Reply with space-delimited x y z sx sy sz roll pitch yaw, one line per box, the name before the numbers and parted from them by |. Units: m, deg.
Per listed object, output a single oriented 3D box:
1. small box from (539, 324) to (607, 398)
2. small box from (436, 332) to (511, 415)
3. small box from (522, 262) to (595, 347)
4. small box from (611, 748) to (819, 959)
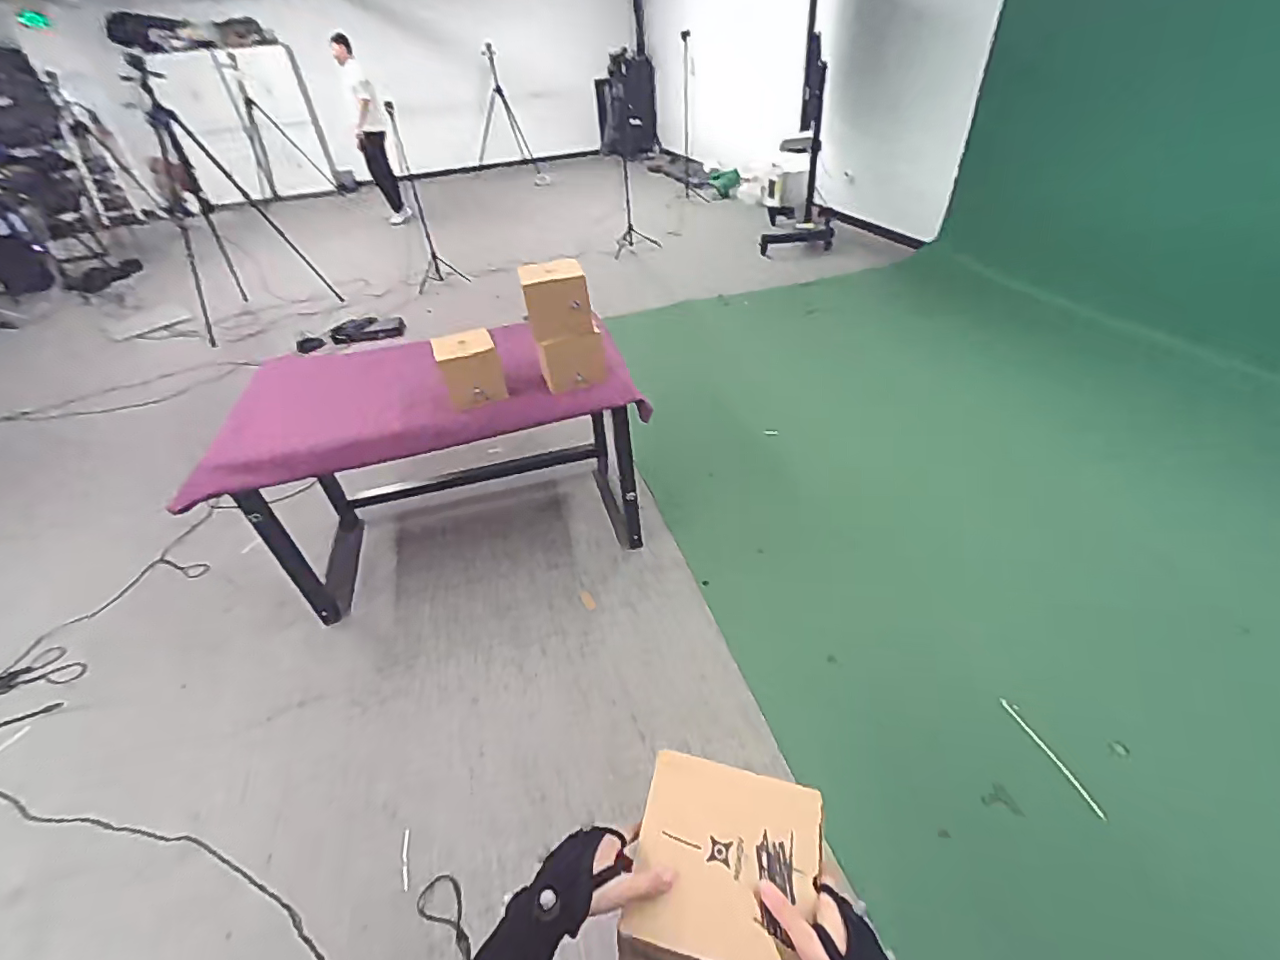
small box | -0.204 -0.372 1.640 0.179 0.176 0.168 -16 39 -12
small box | -0.495 -0.317 1.610 0.168 0.176 0.179 -18 39 -14
small box | -0.230 -0.501 1.542 0.179 0.176 0.168 -13 39 -7
small box | 0.077 0.417 0.565 0.179 0.176 0.168 11 41 11
